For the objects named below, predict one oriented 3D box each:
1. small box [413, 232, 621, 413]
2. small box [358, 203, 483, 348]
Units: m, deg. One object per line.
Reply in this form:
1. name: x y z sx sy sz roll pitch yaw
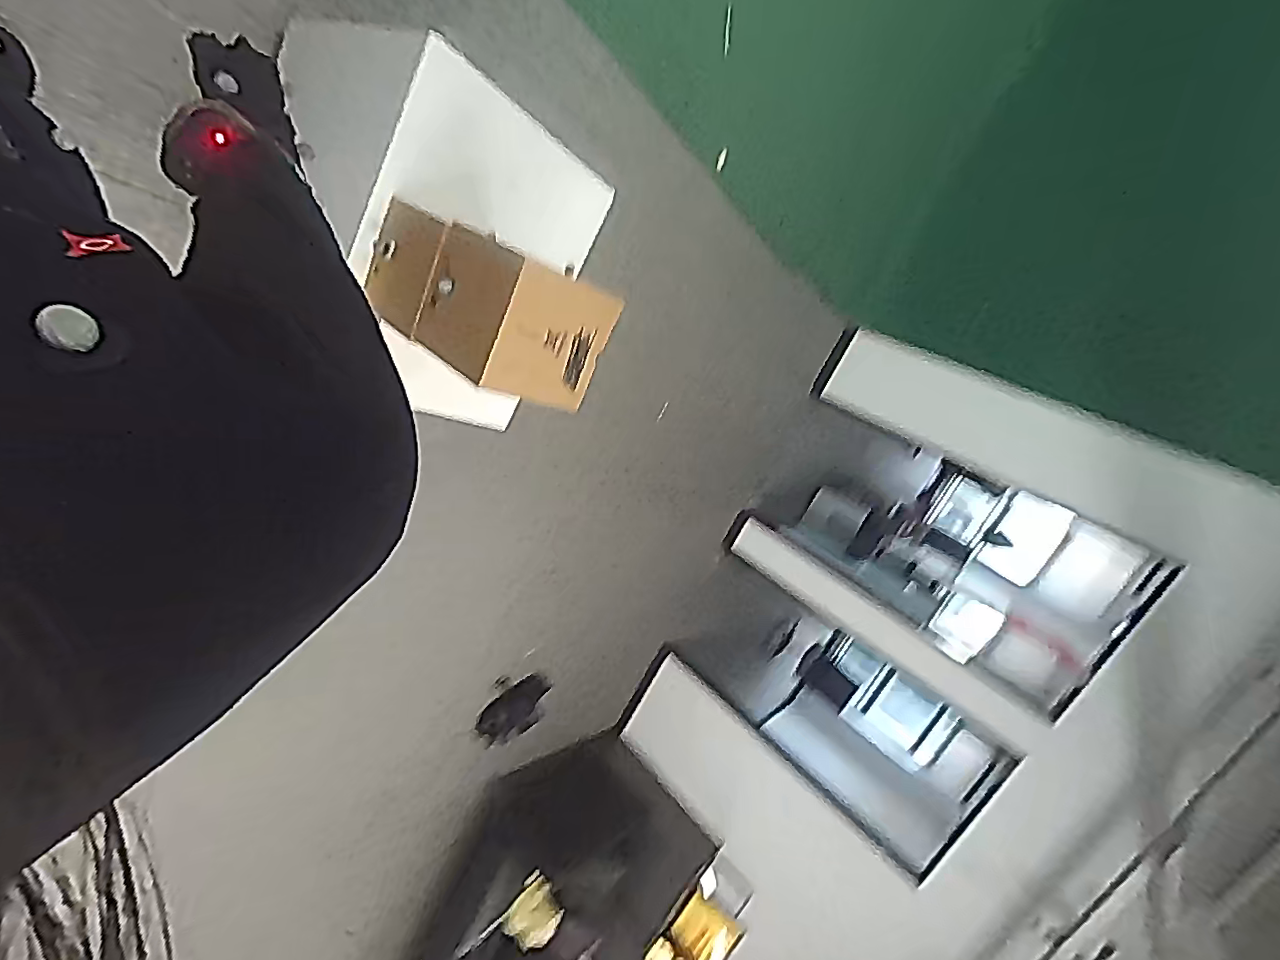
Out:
1. small box: -0.164 -0.204 0.717 0.179 0.176 0.168 -1 121 -54
2. small box: -0.280 -0.284 0.801 0.179 0.176 0.168 4 116 -52
